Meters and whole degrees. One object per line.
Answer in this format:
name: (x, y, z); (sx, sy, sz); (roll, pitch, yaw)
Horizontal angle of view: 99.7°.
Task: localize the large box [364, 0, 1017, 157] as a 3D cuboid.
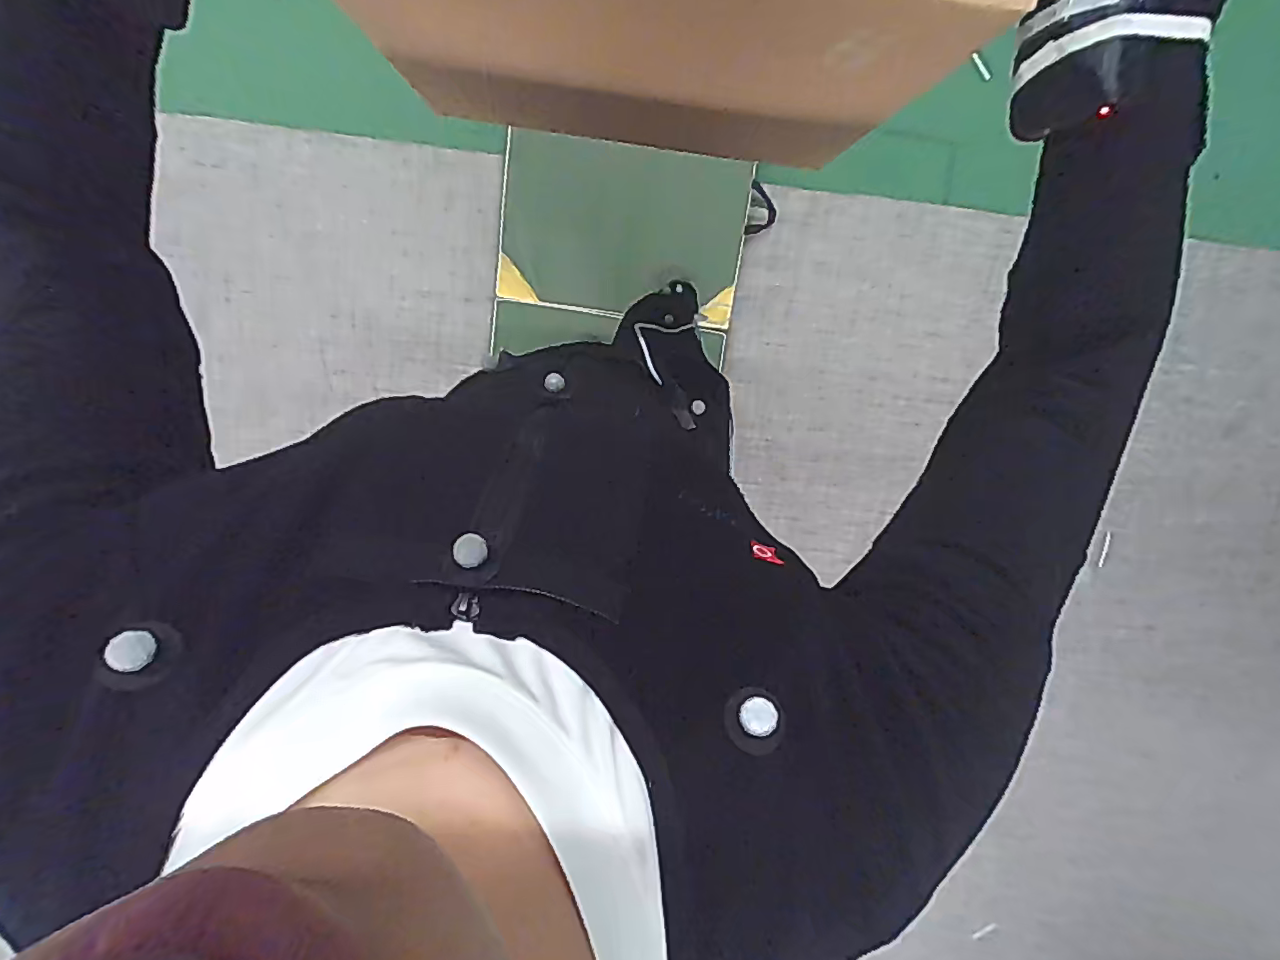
large box: (0.019, -0.460, 0.376); (0.408, 0.320, 0.320); (5, 107, -5)
